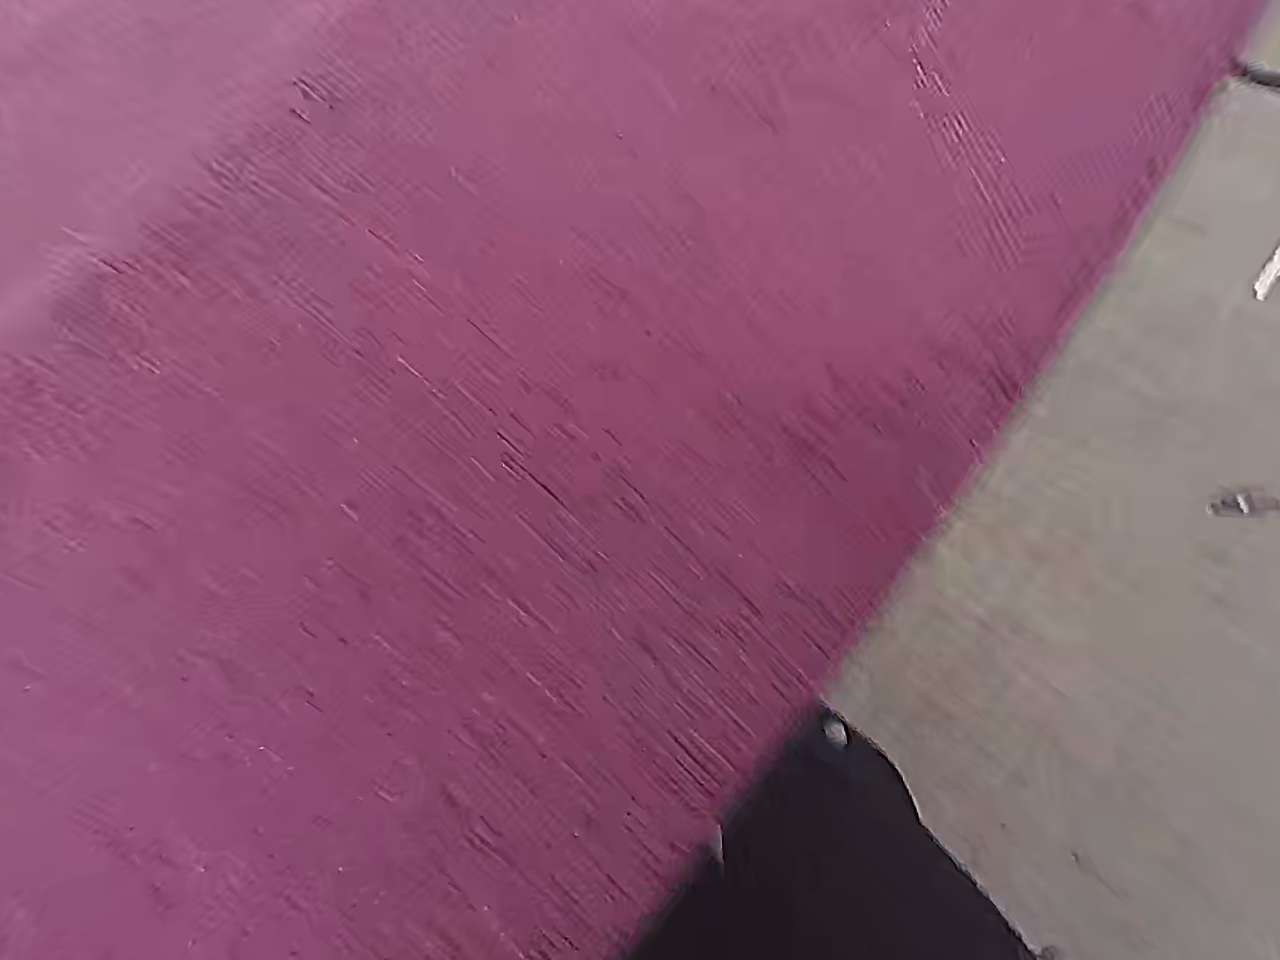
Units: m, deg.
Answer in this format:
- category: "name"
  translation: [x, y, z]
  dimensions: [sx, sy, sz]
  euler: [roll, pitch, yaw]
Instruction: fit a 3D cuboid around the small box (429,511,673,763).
- category: "small box"
  translation: [-0.080, 0.159, 0.588]
  dimensions: [0.168, 0.176, 0.179]
  euler: [33, 87, 17]
